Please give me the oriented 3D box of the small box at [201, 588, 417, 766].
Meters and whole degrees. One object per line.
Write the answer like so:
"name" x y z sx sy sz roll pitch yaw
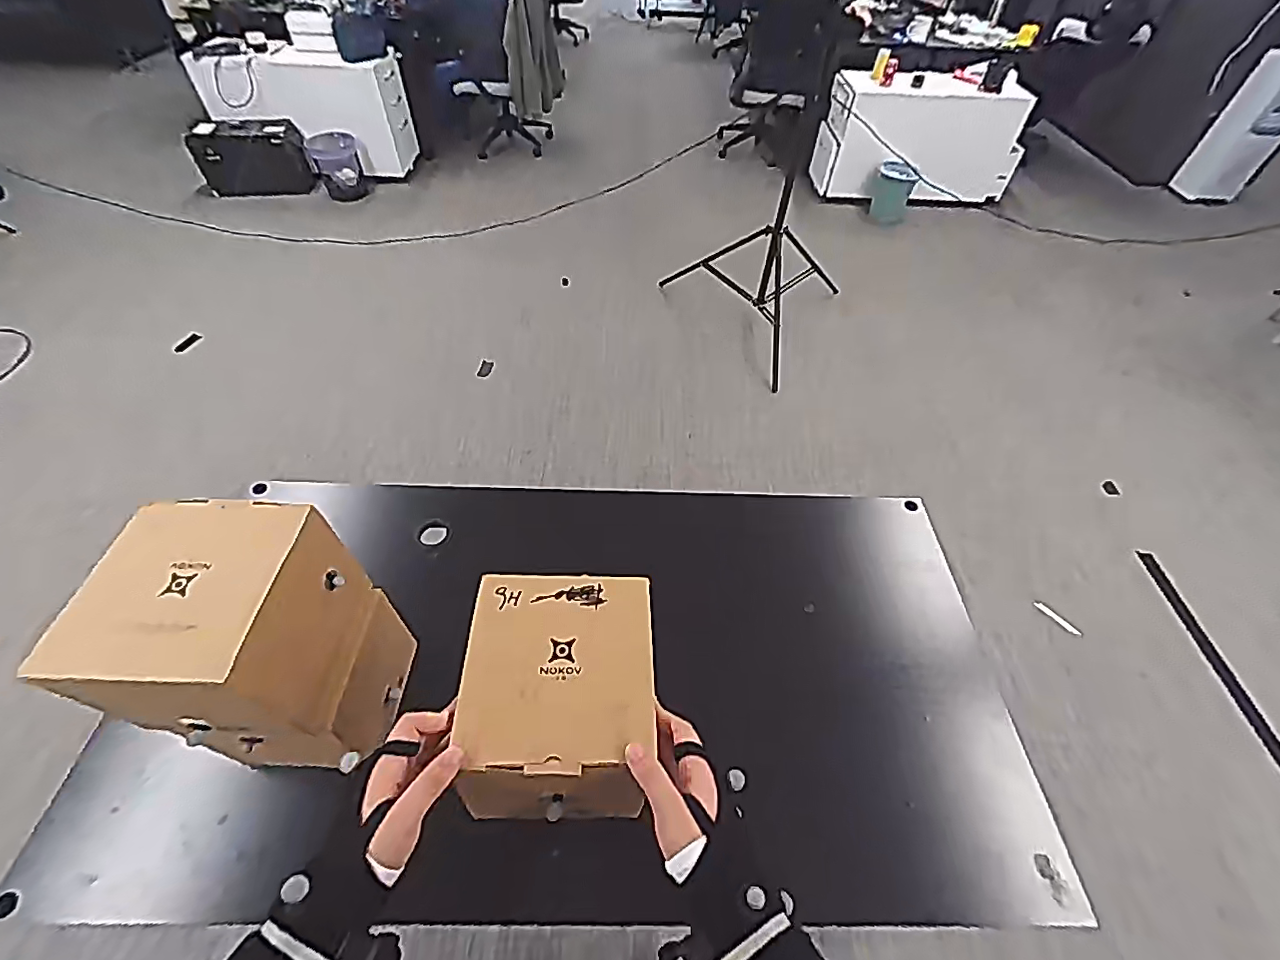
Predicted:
"small box" -0.403 0.243 0.667 0.179 0.176 0.168 3 50 -1

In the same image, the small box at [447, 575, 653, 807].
"small box" -0.076 0.213 0.537 0.168 0.176 0.179 2 48 -5

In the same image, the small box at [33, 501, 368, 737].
"small box" -0.400 0.140 0.541 0.168 0.176 0.179 1 51 0
